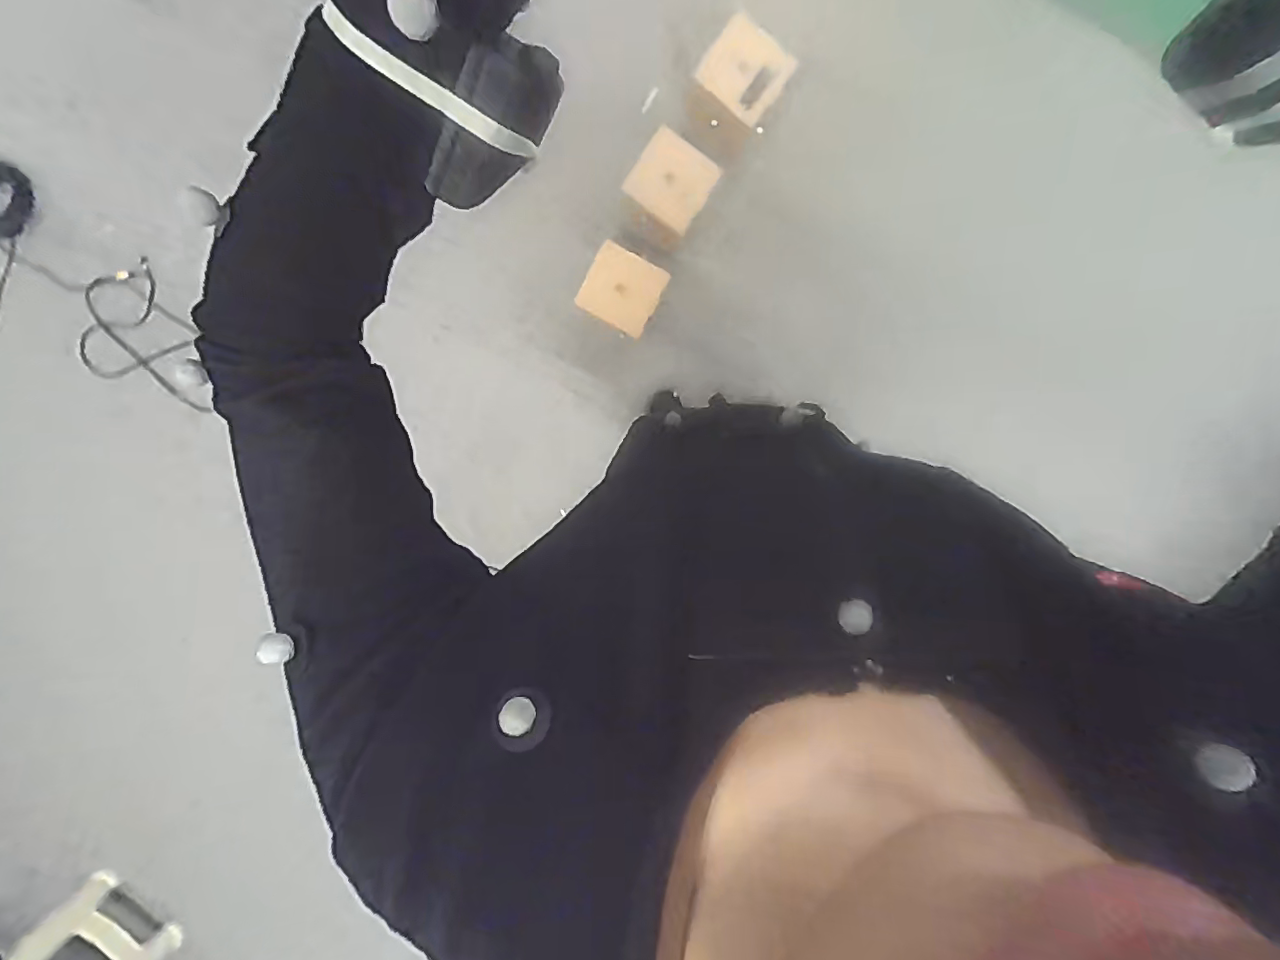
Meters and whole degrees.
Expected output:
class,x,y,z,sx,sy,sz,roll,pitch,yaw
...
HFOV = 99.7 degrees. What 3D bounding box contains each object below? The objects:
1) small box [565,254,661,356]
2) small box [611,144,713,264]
class,x,y,z,sx,sy,sz,roll,pitch,yaw
small box,-0.063,-0.419,1.330,0.179,0.176,0.168,27,97,-4
small box,0.049,-0.648,1.298,0.179,0.176,0.168,35,97,-5
